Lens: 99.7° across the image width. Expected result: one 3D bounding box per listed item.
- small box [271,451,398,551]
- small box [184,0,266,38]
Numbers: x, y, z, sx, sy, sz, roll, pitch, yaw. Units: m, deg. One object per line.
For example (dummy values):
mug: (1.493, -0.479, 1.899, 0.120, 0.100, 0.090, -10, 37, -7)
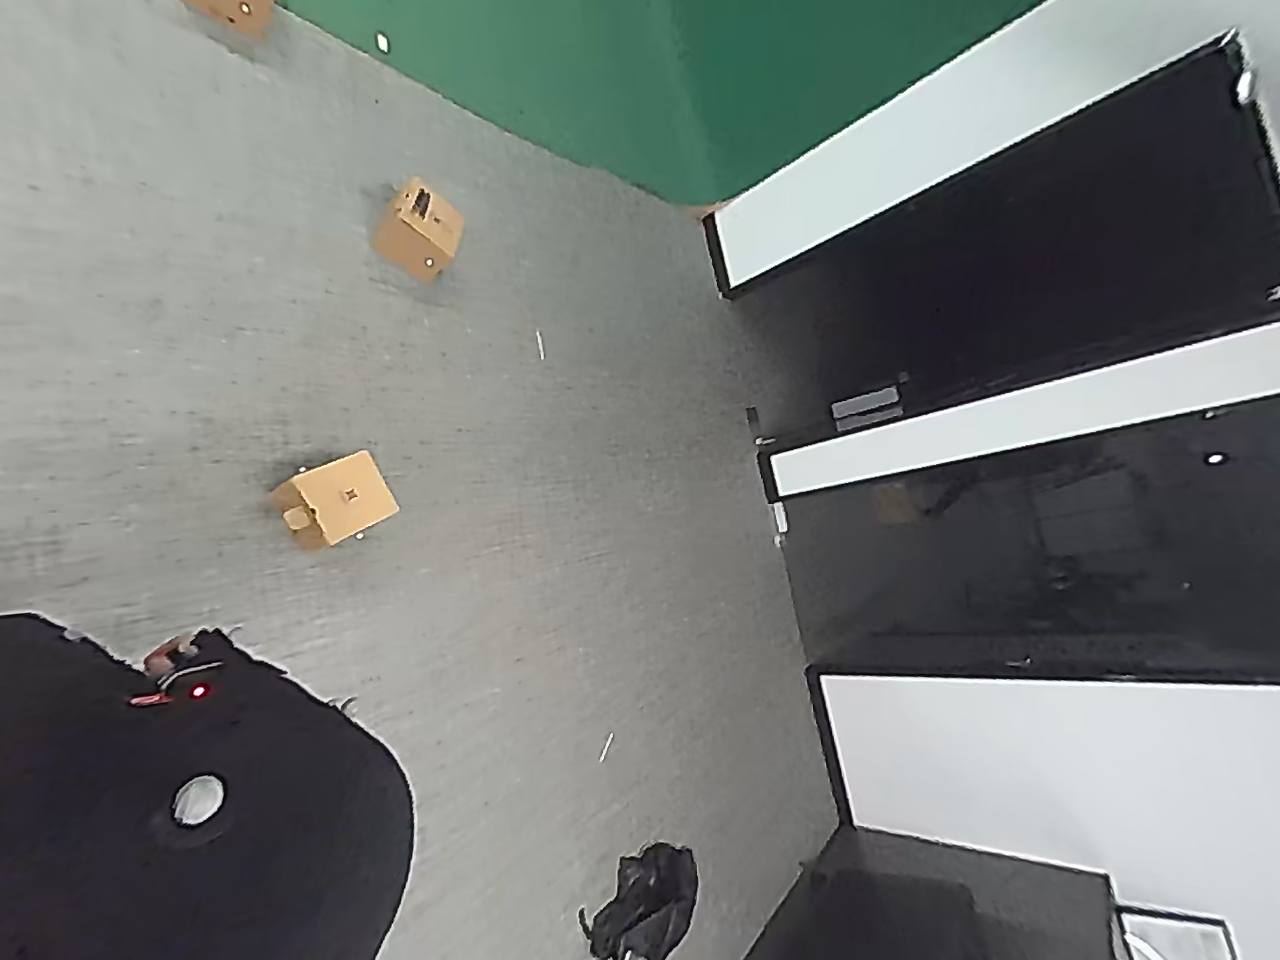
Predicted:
small box: (-0.715, 0.050, 1.264, 0.179, 0.176, 0.168, -37, 106, -48)
small box: (-1.023, -1.250, 1.320, 0.168, 0.176, 0.179, 6, 73, -50)
